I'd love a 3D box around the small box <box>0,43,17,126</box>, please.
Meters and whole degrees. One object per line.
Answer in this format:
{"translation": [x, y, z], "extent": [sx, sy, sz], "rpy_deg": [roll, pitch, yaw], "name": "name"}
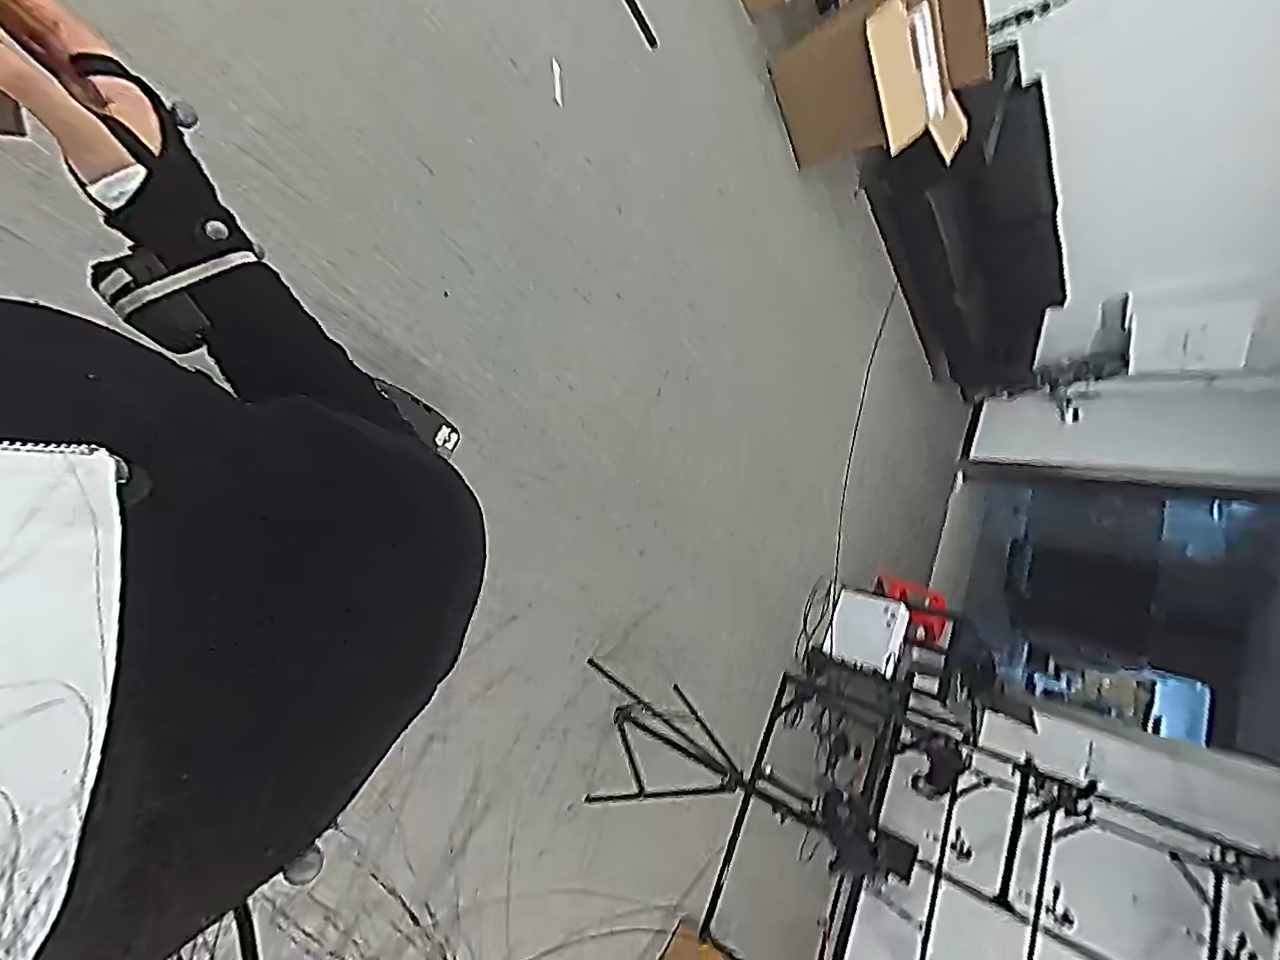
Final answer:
{"translation": [-0.471, -0.312, 0.274], "extent": [0.168, 0.176, 0.179], "rpy_deg": [-19, 114, -41], "name": "small box"}
